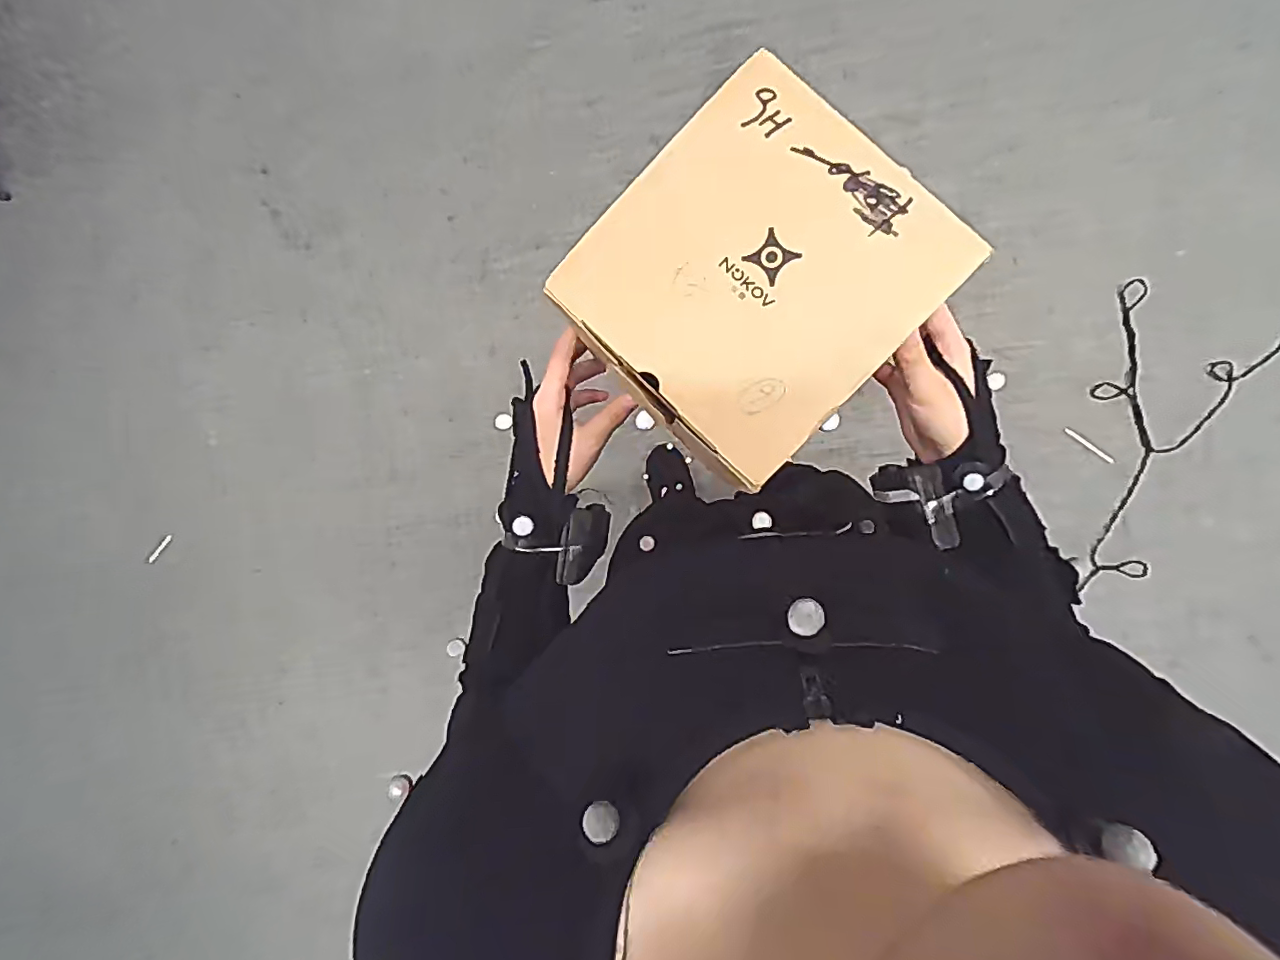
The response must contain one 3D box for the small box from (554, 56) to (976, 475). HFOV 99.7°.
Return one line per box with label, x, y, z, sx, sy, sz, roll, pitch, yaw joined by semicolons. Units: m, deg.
small box;0.074;-0.118;0.378;0.168;0.176;0.179;44;95;4
